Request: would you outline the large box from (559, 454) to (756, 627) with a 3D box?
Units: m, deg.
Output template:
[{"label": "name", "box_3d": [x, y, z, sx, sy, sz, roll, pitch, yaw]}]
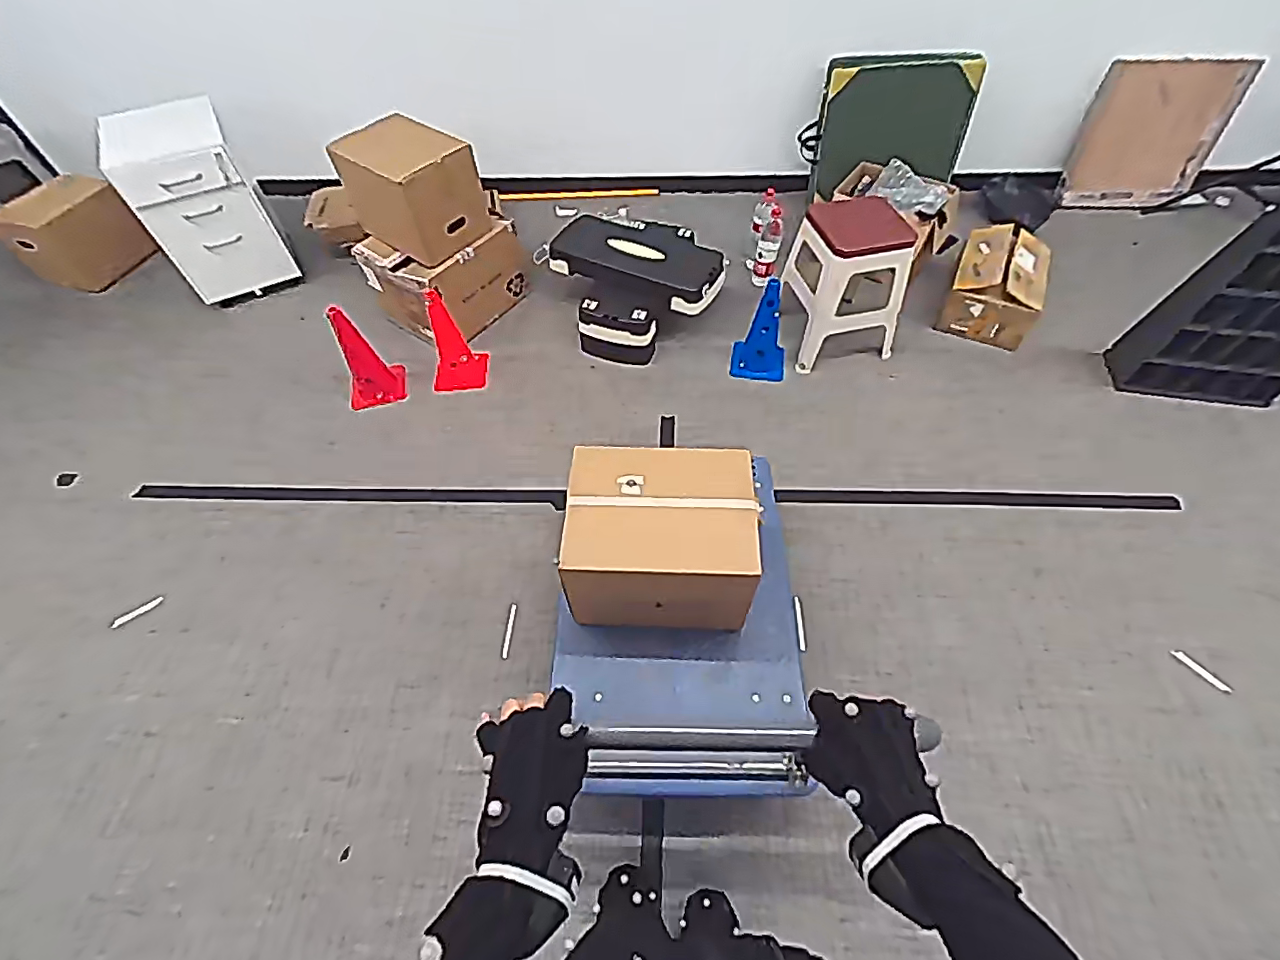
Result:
[{"label": "large box", "box_3d": [0.045, 0.151, 1.284, 0.408, 0.320, 0.320, 1, 55, 3]}]
